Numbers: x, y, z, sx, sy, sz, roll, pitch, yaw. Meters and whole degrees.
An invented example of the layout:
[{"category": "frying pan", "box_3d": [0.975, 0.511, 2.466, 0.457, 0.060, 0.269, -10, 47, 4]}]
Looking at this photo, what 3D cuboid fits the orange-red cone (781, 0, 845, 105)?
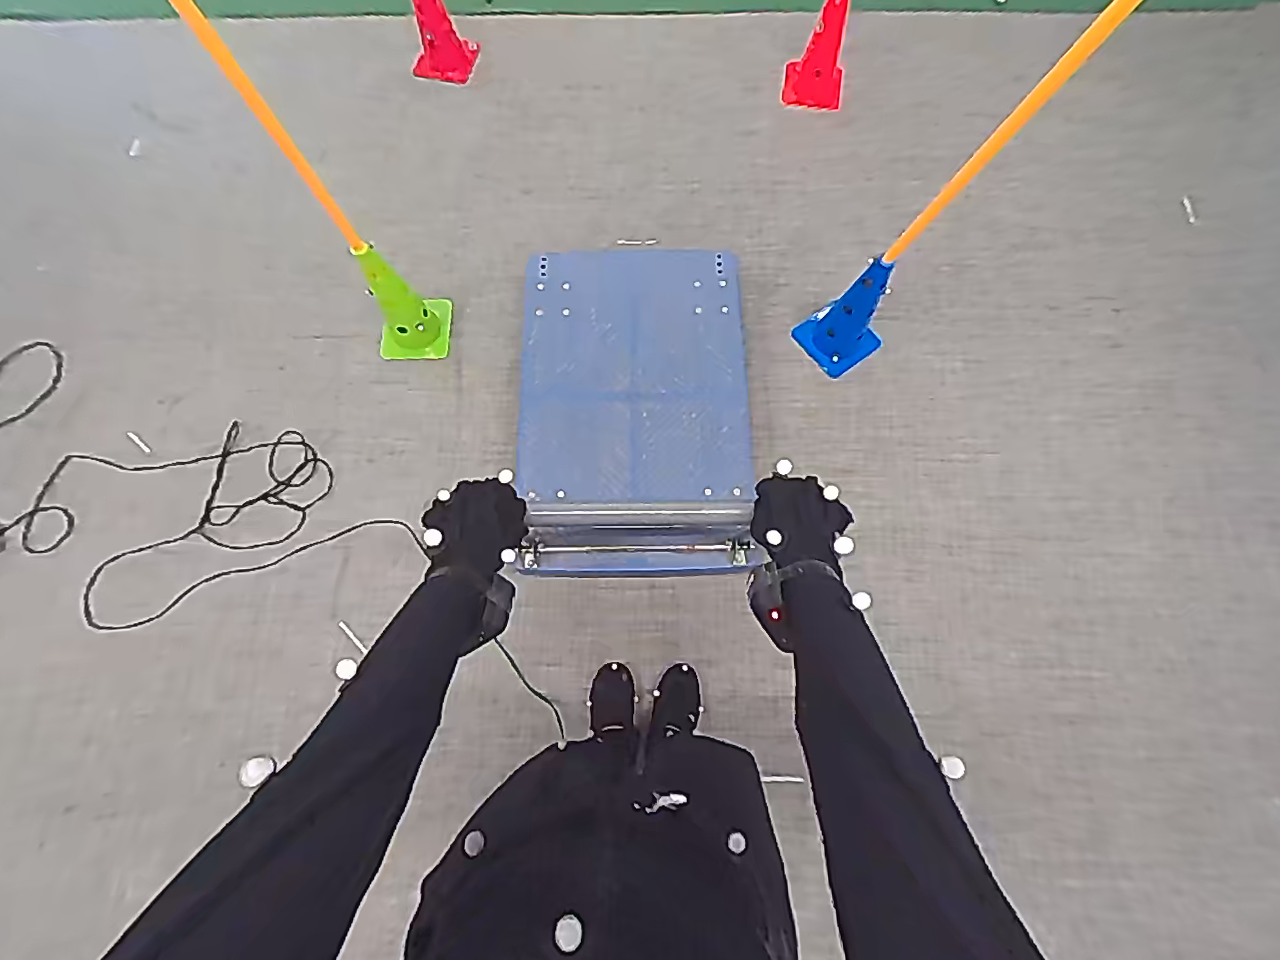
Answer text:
[{"category": "orange-red cone", "box_3d": [0.586, -1.415, 1.691, 0.198, 0.360, 0.199, 11, 75, 5]}]
